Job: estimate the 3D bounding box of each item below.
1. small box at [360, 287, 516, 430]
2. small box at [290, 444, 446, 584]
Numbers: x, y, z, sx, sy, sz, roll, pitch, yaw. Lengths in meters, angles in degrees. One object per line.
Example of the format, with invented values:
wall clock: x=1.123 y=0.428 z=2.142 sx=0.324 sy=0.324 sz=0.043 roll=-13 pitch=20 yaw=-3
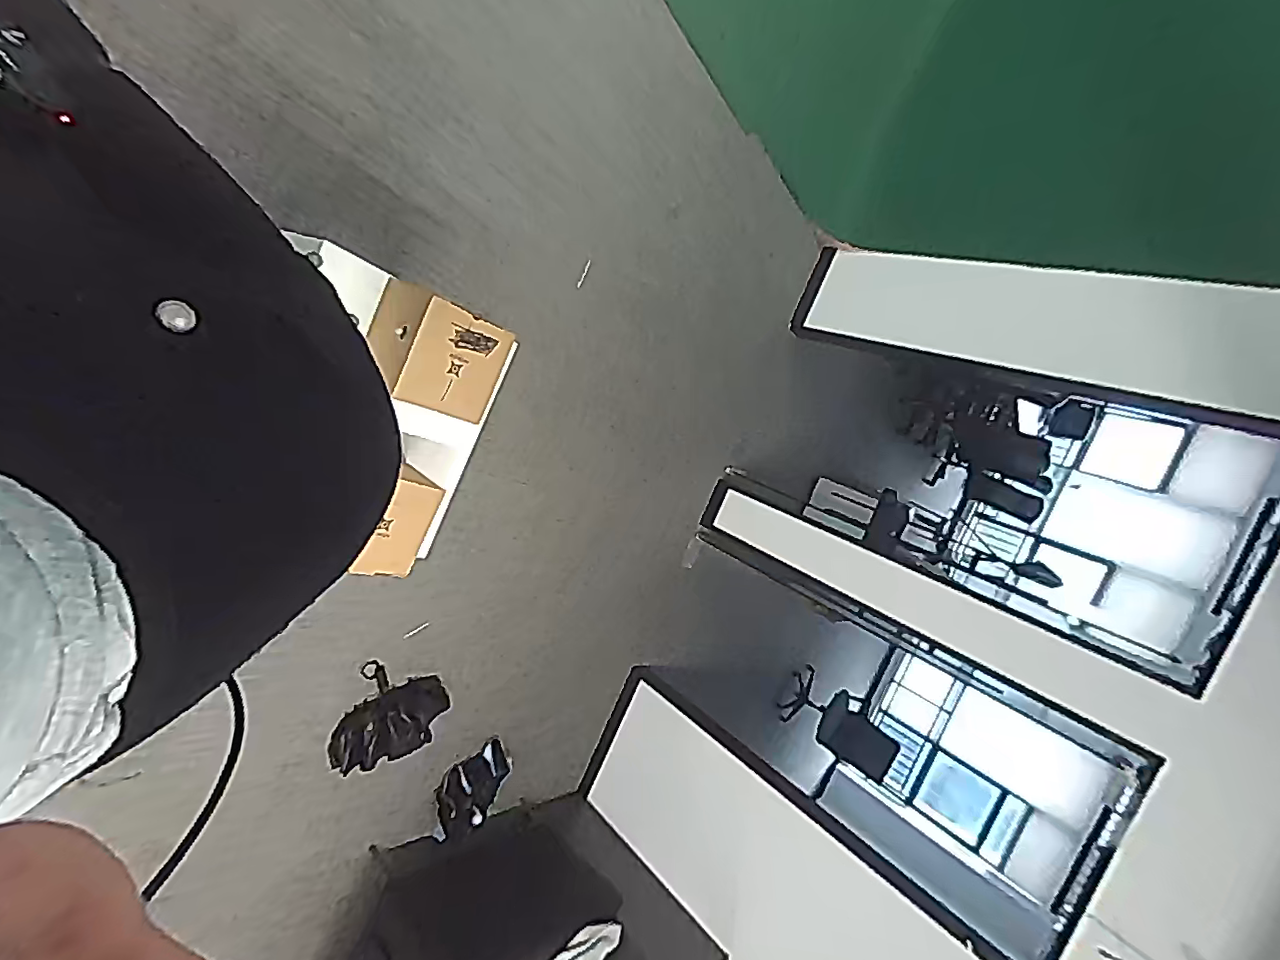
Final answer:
small box: x=-0.352 y=-0.210 z=0.932 sx=0.168 sy=0.176 sz=0.179 roll=17 pitch=99 yaw=-51
small box: x=-0.480 y=0.059 z=0.946 sx=0.168 sy=0.176 sz=0.179 roll=23 pitch=92 yaw=-52
